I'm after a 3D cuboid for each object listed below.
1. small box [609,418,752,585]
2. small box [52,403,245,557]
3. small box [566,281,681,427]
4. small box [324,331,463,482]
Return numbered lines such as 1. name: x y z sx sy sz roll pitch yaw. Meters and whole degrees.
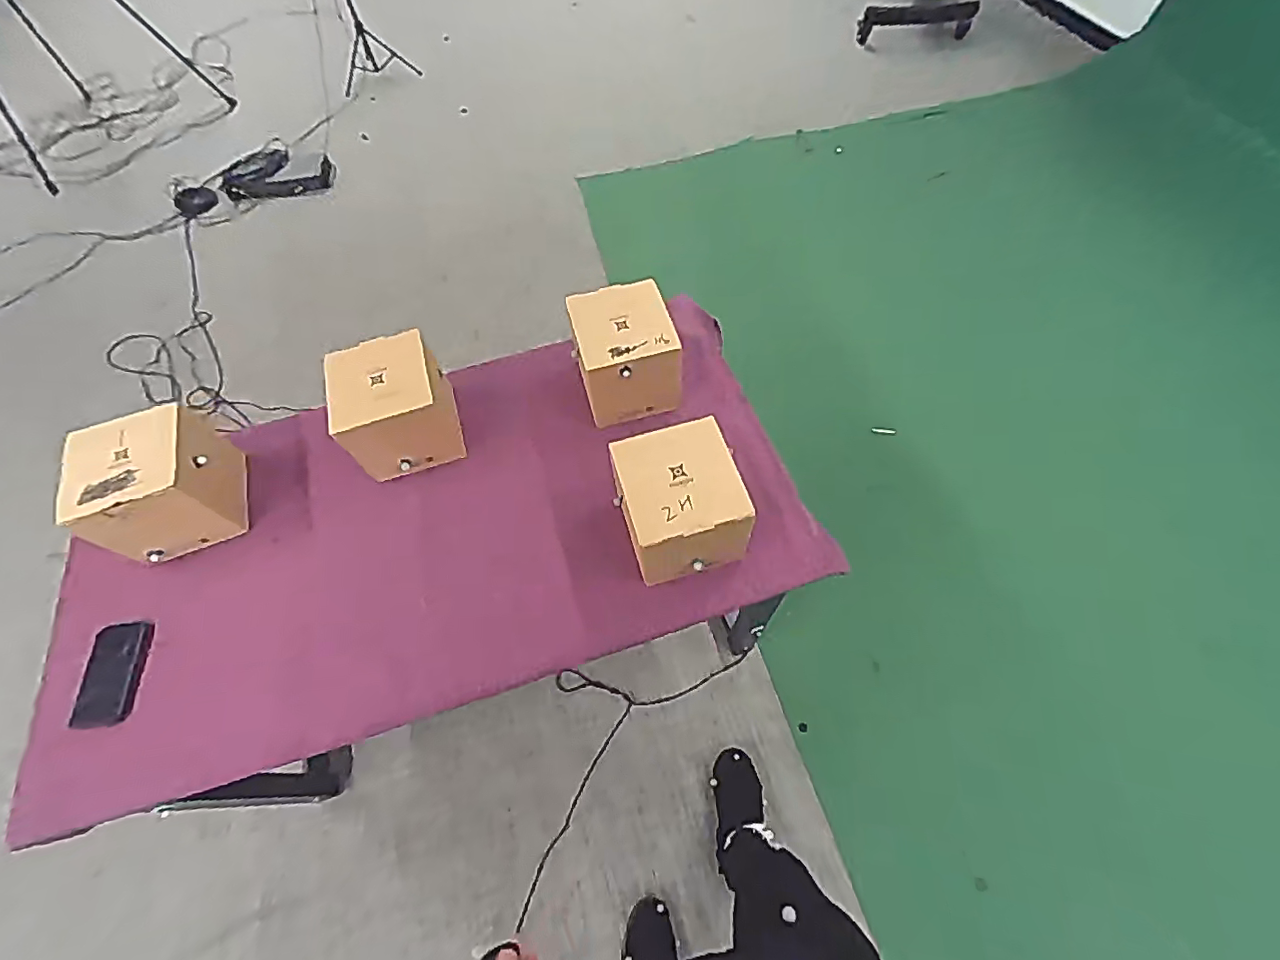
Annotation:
1. small box: 0.056 0.037 0.825 0.168 0.176 0.179 -15 60 -4
2. small box: -0.787 0.009 0.889 0.168 0.176 0.179 -20 60 -9
3. small box: -0.030 -0.225 0.983 0.168 0.176 0.179 -15 60 -4
4. small box: -0.427 -0.125 0.949 0.168 0.176 0.179 -18 62 -6
